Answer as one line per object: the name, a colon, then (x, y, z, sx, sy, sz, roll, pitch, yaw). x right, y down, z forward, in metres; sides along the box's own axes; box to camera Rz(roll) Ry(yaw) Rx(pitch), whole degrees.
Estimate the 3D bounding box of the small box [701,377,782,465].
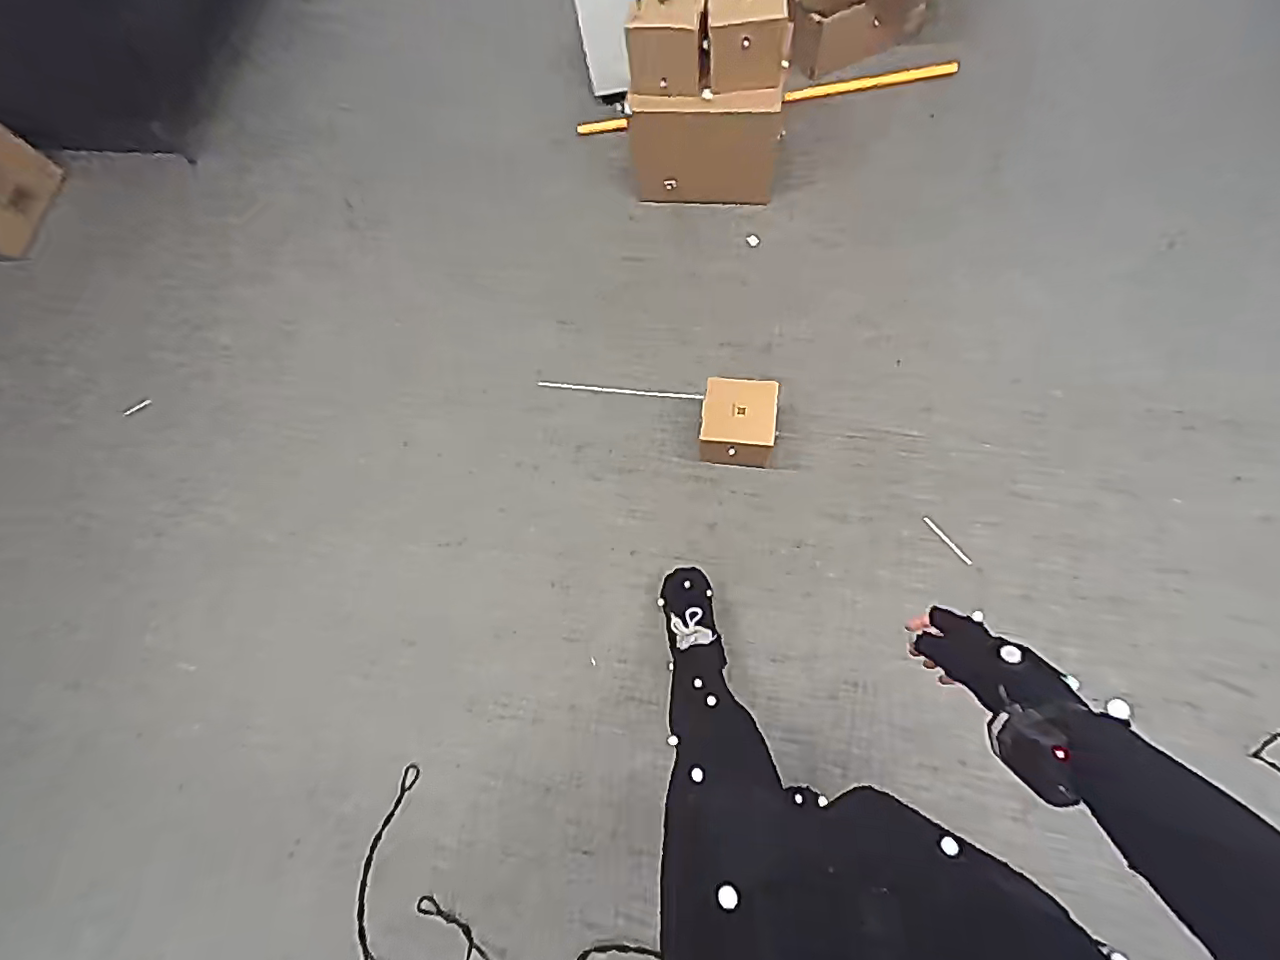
small box: (0.249, -0.141, 1.344, 0.179, 0.176, 0.168, 5, 75, 10)
